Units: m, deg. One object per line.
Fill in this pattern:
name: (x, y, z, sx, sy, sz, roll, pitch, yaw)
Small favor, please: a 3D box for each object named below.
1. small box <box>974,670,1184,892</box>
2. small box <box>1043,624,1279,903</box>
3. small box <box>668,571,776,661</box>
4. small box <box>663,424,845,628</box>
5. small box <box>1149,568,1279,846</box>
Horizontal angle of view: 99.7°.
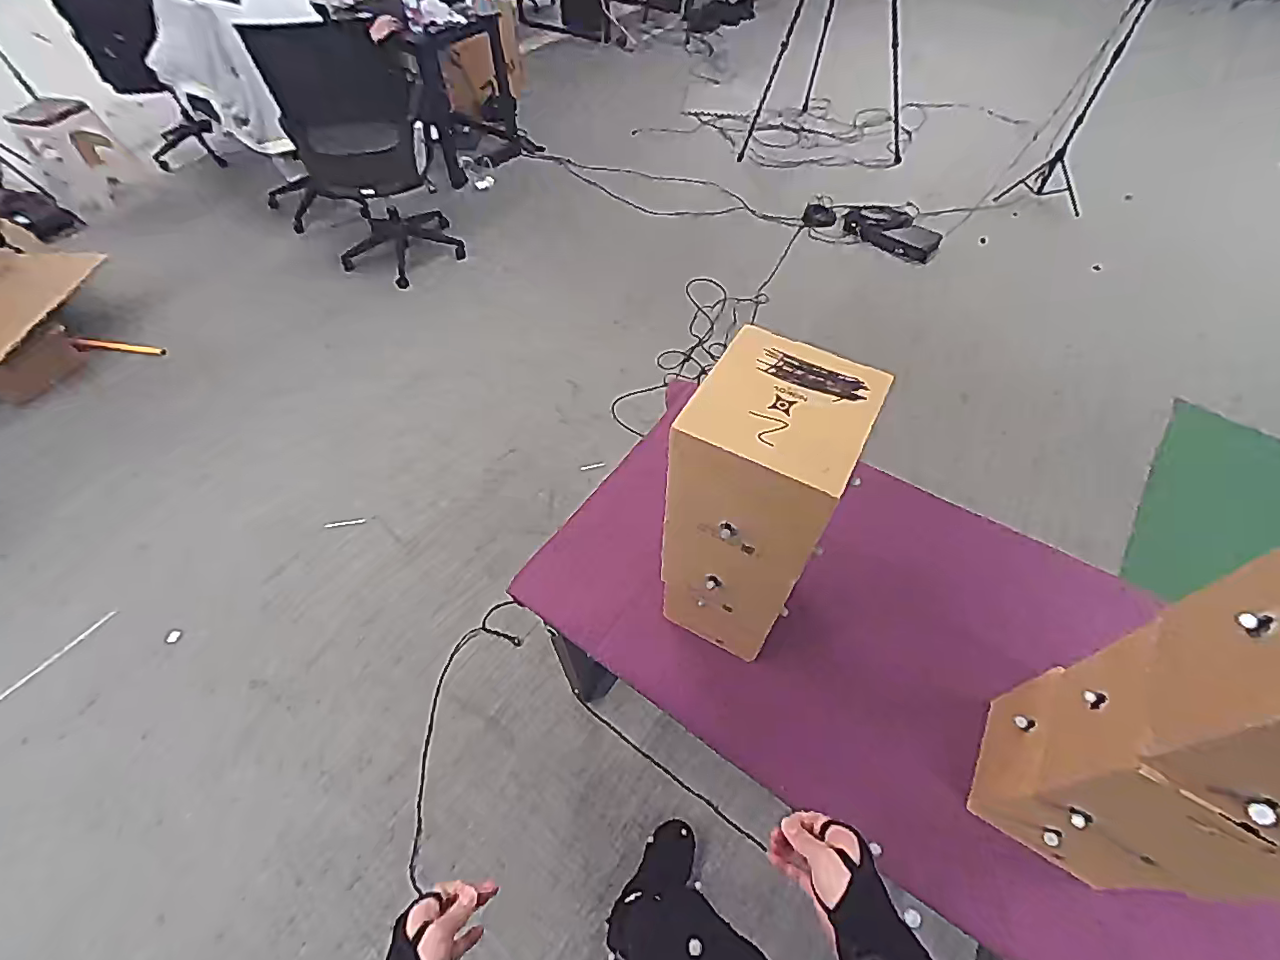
small box: (0.556, 0.382, 0.683, 0.168, 0.176, 0.179, 28, 57, 20)
small box: (0.553, 0.288, 0.548, 0.168, 0.176, 0.179, 30, 57, 21)
small box: (0.150, 0.150, 0.855, 0.168, 0.176, 0.179, 25, 57, 18)
small box: (0.142, 0.065, 0.713, 0.168, 0.176, 0.179, 26, 58, 17)
small box: (0.555, 0.184, 0.422, 0.168, 0.176, 0.179, 31, 58, 22)
